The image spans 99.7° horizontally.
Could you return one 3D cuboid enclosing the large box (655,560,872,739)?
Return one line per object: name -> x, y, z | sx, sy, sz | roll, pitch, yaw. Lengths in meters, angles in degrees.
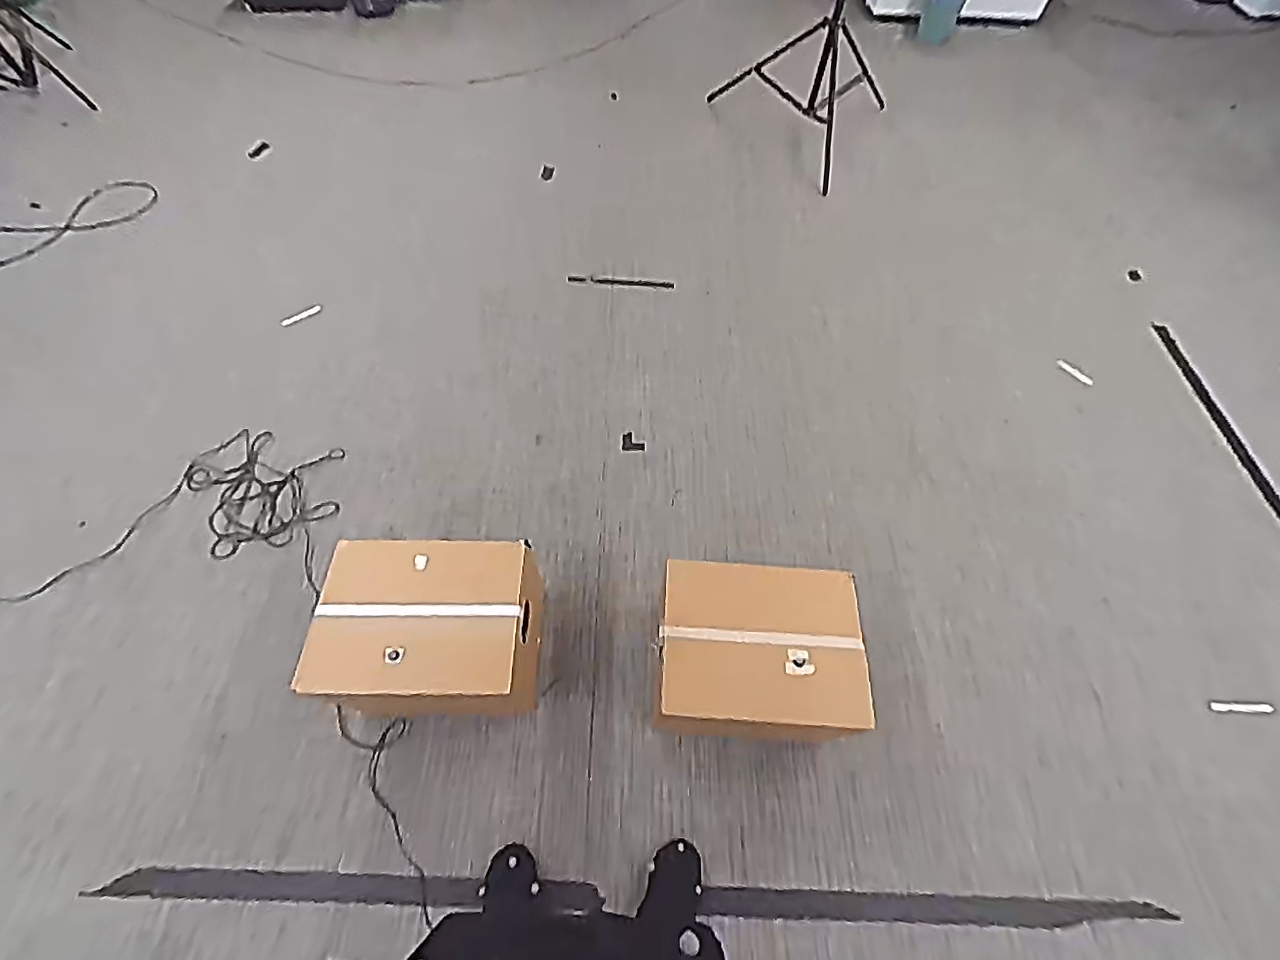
large box -> 0.245, 0.393, 1.225 | 0.408, 0.320, 0.320 | 5, 60, 0
